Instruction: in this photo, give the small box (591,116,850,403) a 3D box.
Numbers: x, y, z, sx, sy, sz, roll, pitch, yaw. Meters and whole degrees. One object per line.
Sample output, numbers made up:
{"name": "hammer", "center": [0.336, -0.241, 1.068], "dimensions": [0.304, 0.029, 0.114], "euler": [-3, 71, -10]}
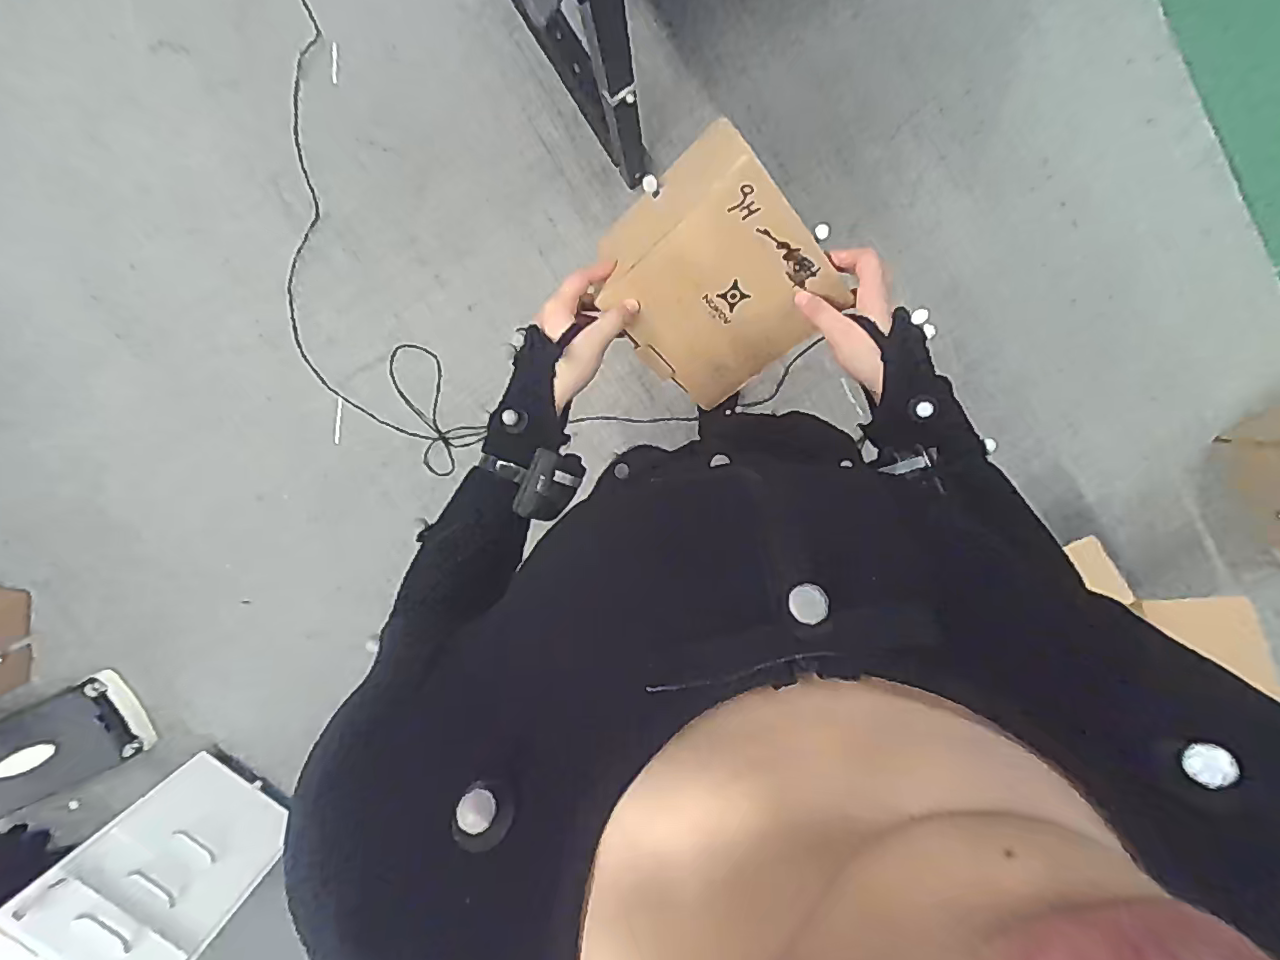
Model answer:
{"name": "small box", "center": [0.073, -0.218, 0.542], "dimensions": [0.179, 0.176, 0.168], "euler": [-35, 124, 27]}
